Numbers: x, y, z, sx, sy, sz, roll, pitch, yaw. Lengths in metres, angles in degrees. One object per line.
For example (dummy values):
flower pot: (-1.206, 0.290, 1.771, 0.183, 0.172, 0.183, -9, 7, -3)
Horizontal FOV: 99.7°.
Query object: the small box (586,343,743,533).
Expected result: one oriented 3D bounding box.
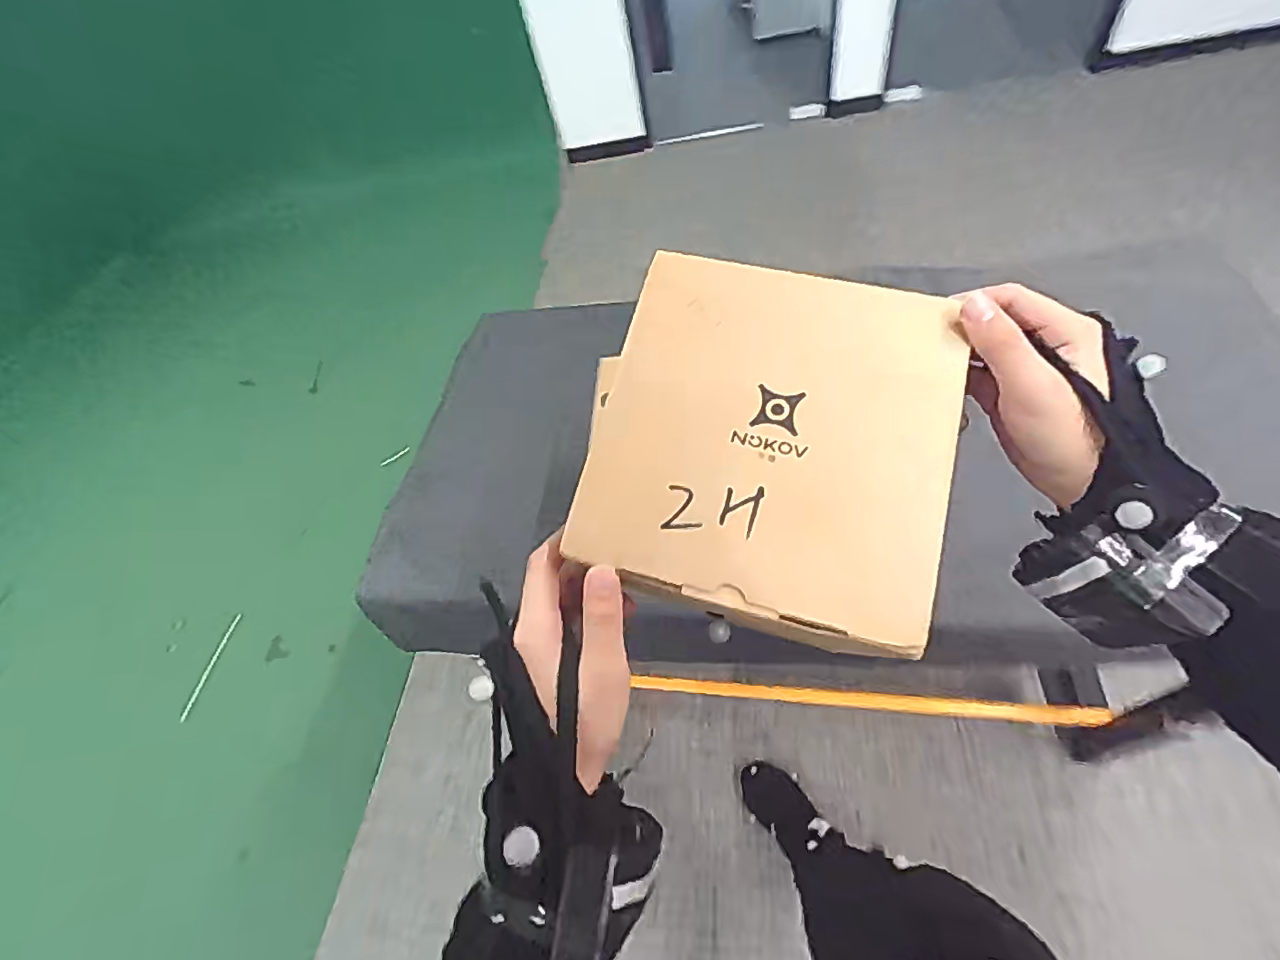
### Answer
small box: (0.040, -0.043, 0.683, 0.168, 0.176, 0.179, -4, 53, 10)
